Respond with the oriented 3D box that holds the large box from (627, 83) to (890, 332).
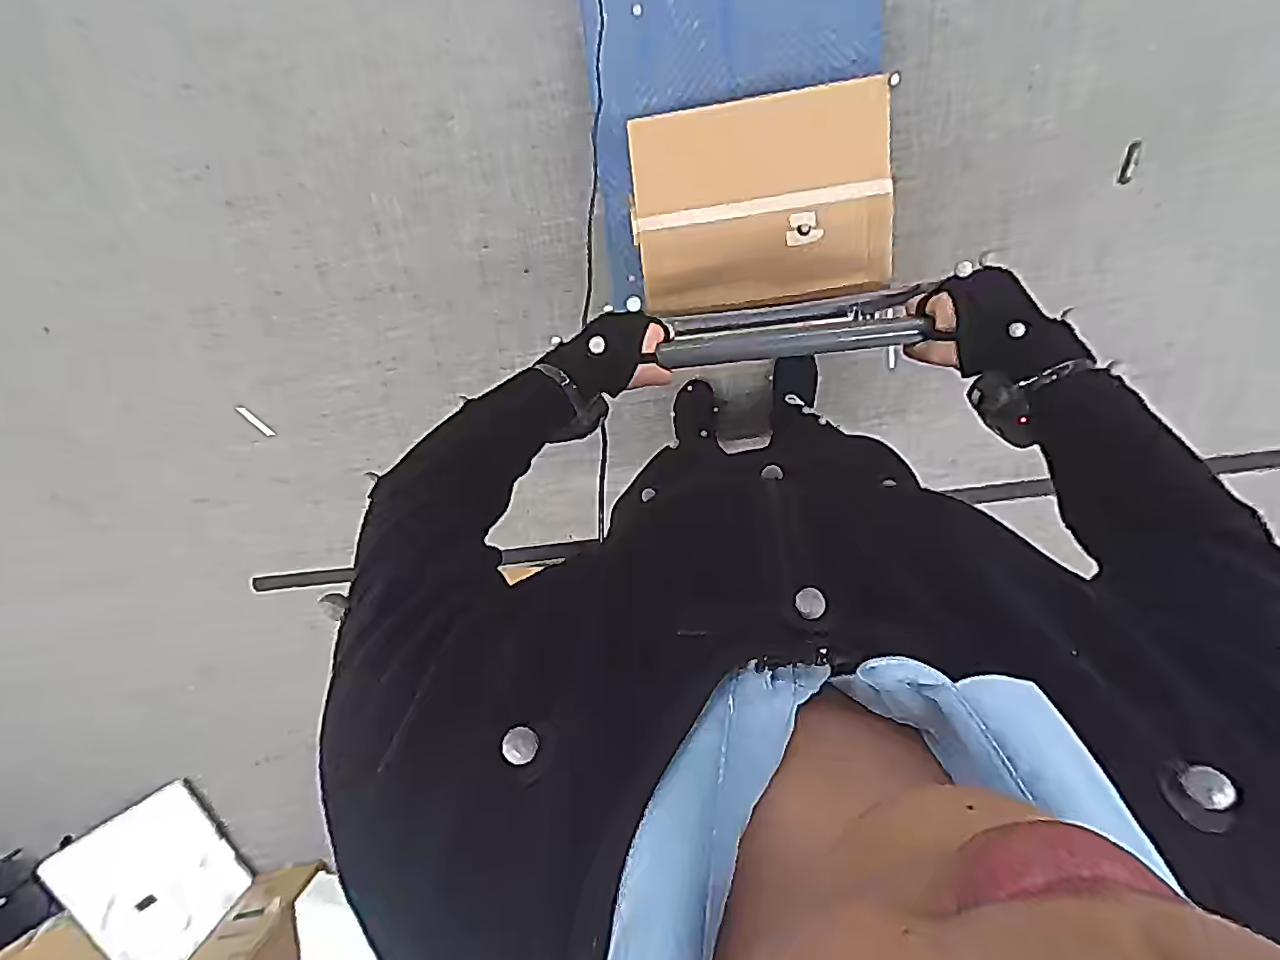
[{"bbox_3d":[0.209,-0.466,1.017,0.408,0.320,0.320,-5,104,8],"label":"large box"}]
